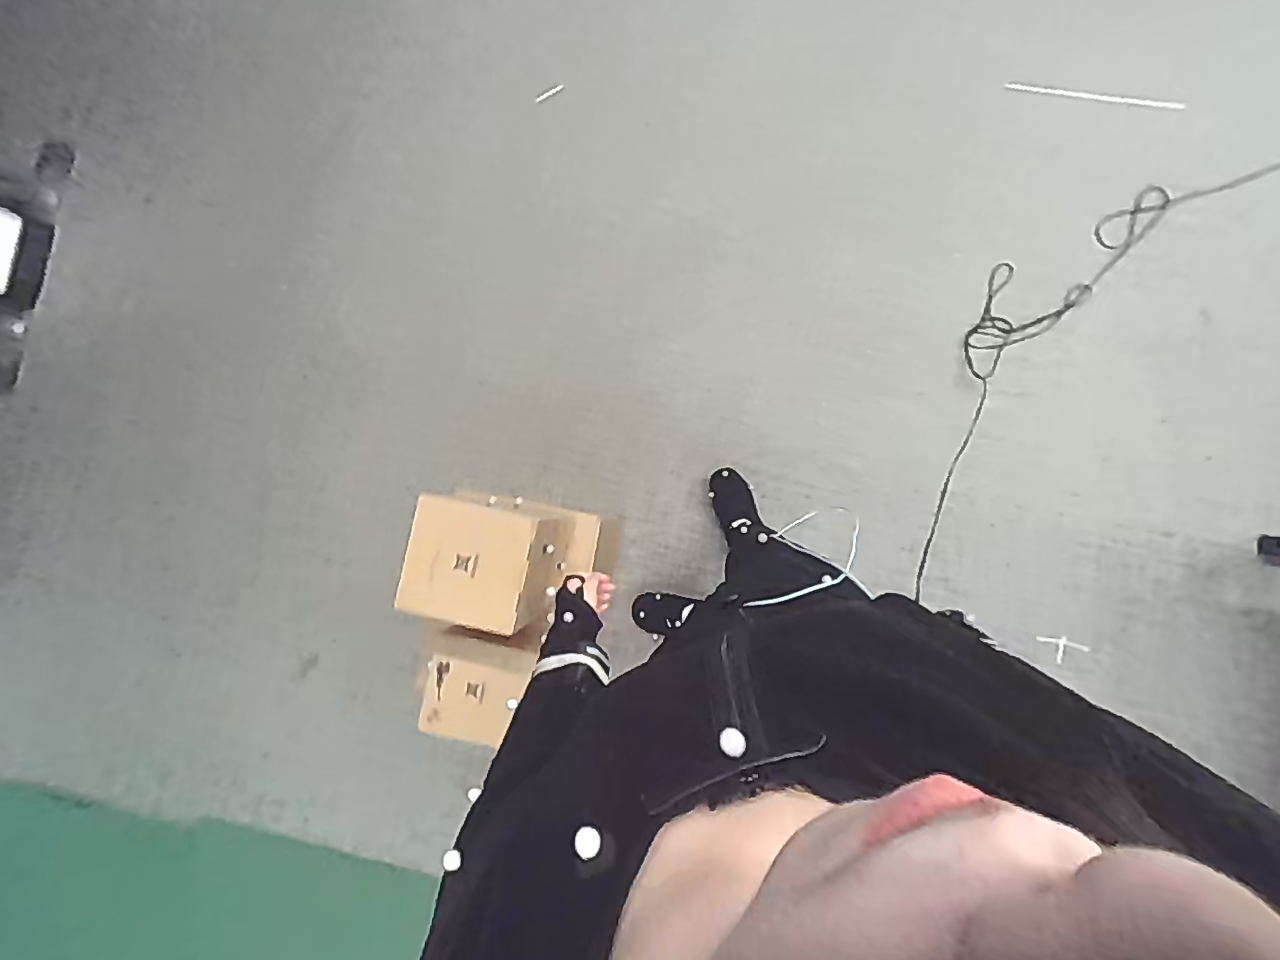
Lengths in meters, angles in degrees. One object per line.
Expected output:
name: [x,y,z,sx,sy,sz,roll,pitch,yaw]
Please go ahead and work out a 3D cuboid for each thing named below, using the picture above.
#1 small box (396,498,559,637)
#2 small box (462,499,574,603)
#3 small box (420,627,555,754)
small box: [-0.236,0.125,0.833,0.179,0.176,0.168,12,87,5]
small box: [-0.234,0.134,0.996,0.179,0.176,0.168,10,88,5]
small box: [-0.263,0.364,0.980,0.179,0.176,0.168,11,85,4]
